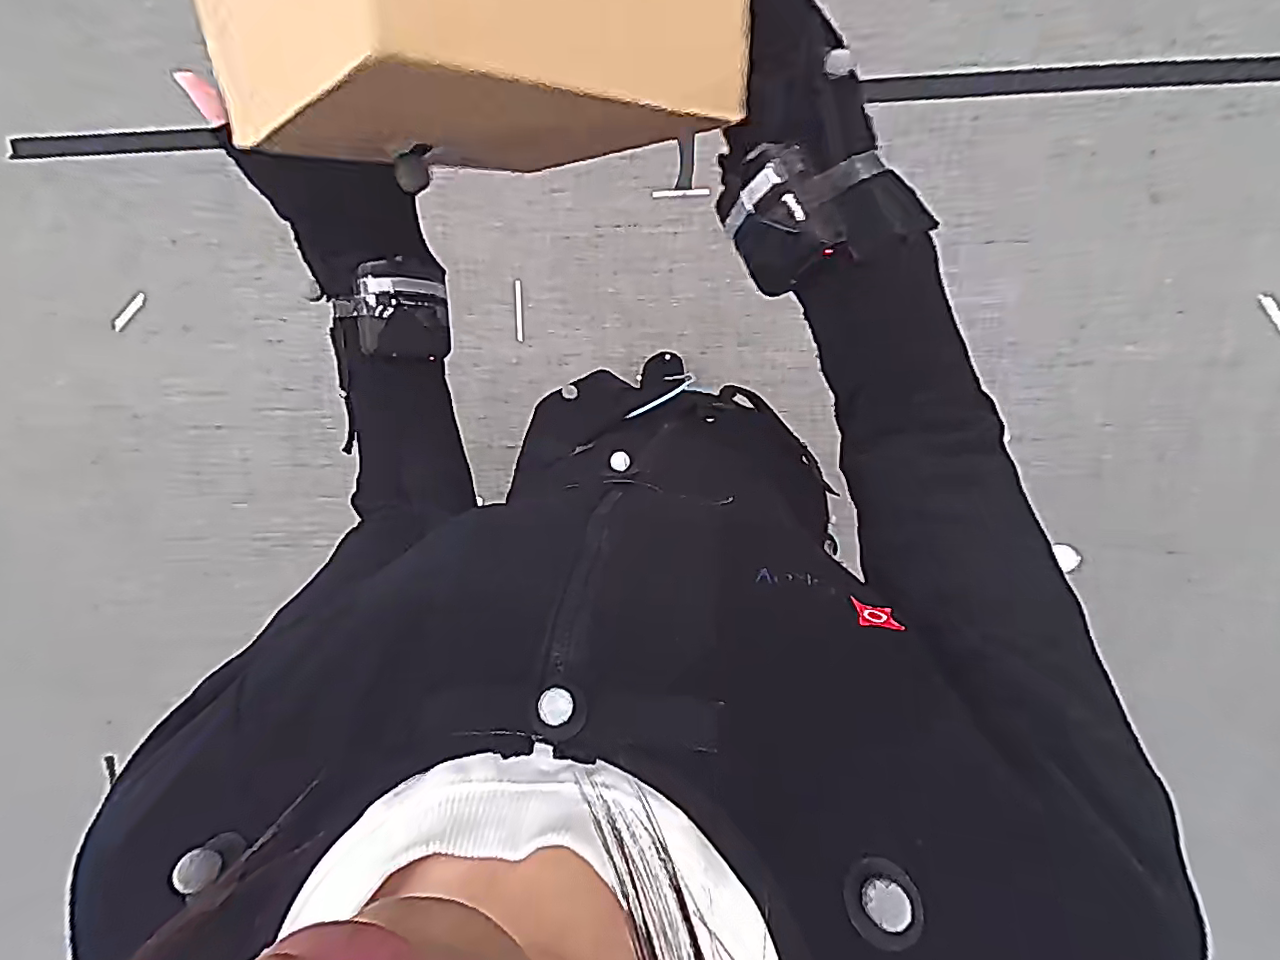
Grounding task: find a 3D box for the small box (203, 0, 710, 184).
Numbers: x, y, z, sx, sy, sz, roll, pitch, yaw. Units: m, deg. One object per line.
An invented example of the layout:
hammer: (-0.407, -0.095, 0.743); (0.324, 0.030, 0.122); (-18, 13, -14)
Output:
small box: (-0.087, -0.241, 0.233); (0.176, 0.168, 0.179); (20, 122, 43)
